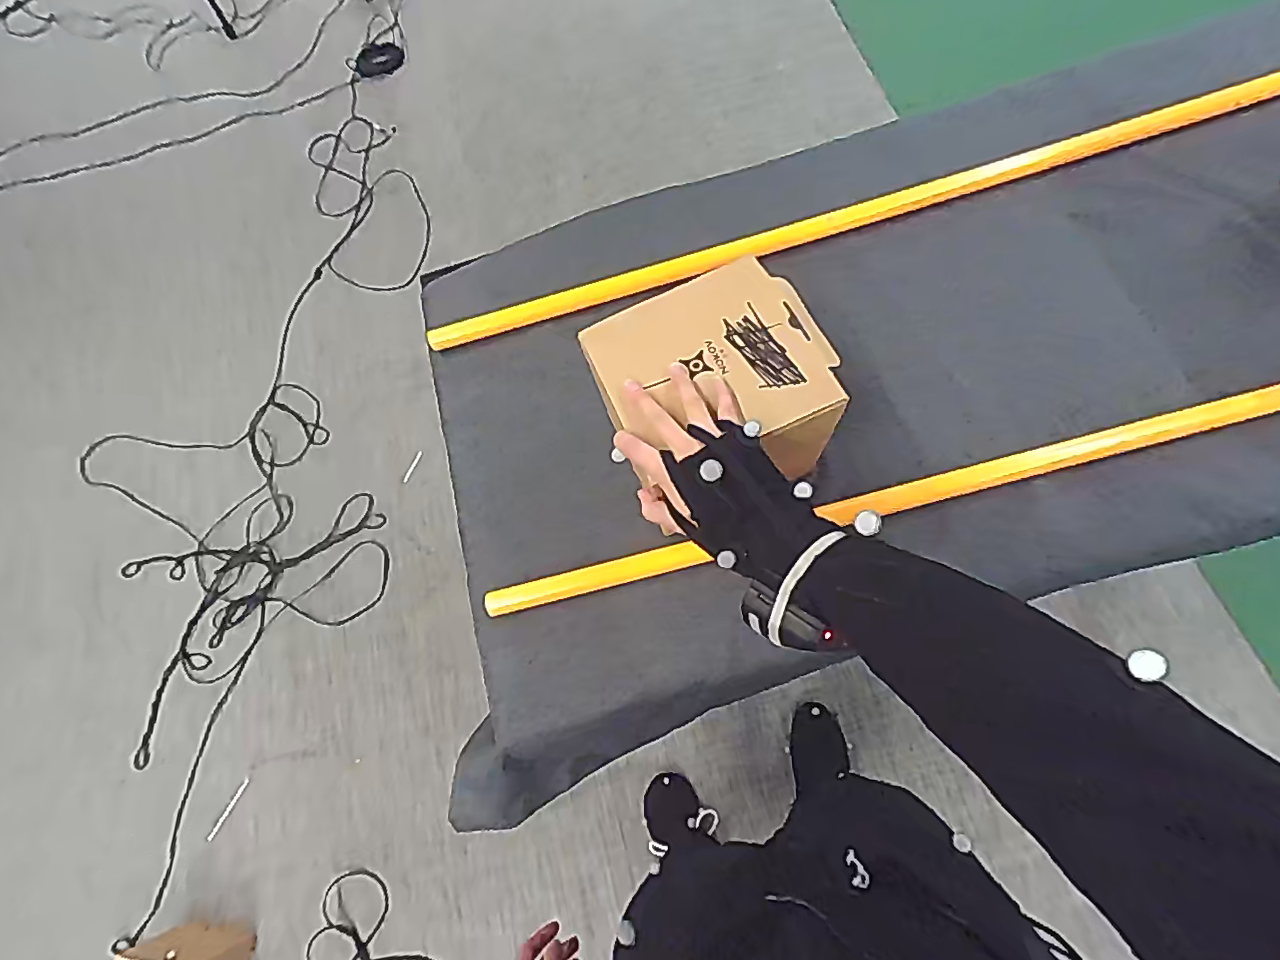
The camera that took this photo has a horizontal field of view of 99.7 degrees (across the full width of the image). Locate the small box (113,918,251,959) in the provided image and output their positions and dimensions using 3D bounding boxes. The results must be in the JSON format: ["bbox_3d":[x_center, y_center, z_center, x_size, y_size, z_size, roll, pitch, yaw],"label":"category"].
[{"bbox_3d":[-0.914,1.010,1.058,0.168,0.176,0.179,4,71,9],"label":"small box"}]

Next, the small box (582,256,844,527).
[{"bbox_3d":[0.065,-0.074,0.532,0.179,0.176,0.168,-24,69,-1],"label":"small box"}]
